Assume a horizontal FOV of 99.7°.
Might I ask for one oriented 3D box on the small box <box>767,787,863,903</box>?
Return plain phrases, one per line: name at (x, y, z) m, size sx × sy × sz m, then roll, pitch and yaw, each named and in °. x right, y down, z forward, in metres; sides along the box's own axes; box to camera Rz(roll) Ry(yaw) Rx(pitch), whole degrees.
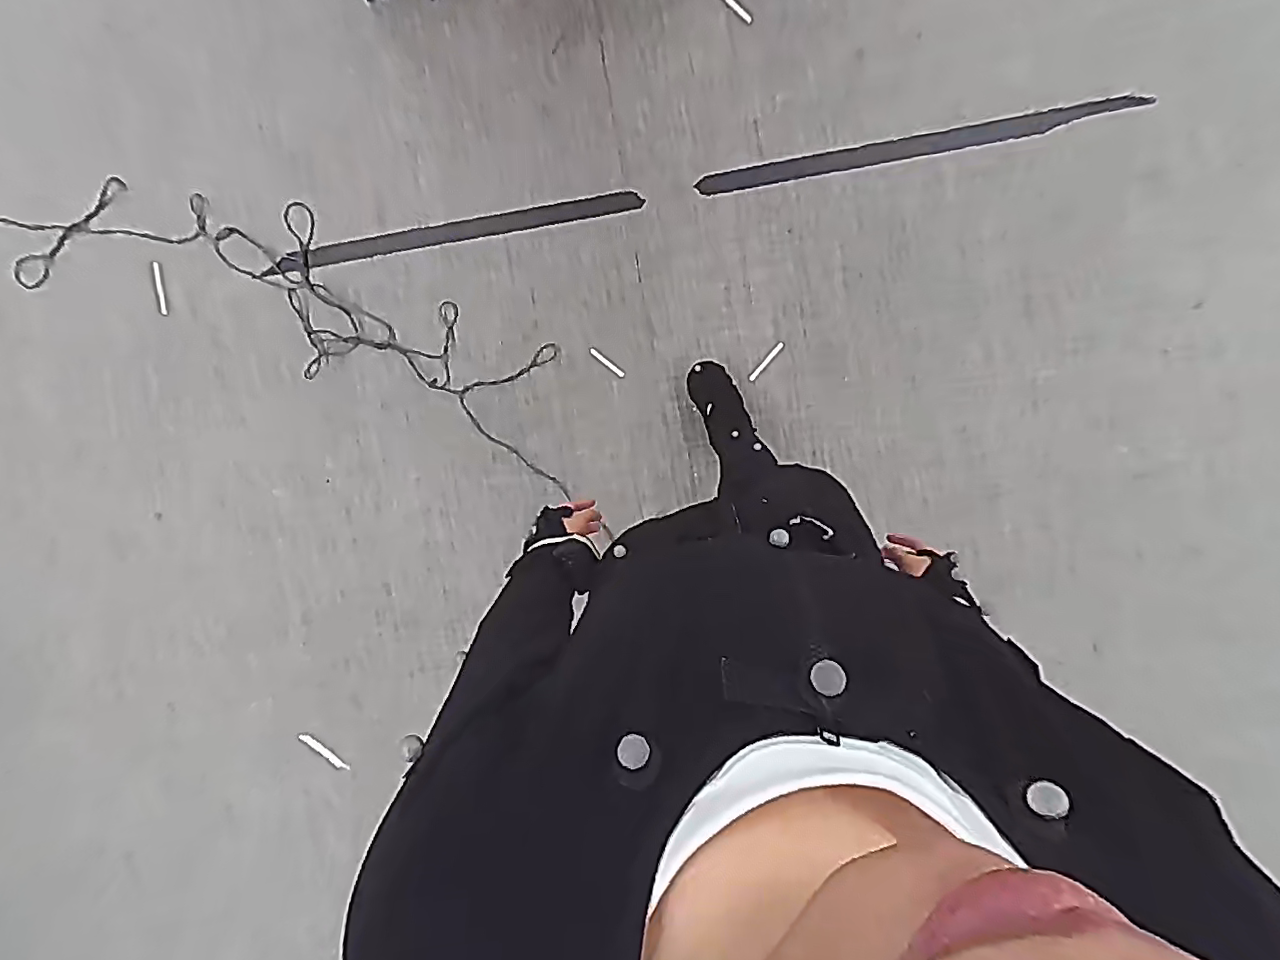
small box at (0.423, 0.891, 1.324) m, size 0.179 × 0.176 × 0.168 m, roll -8°, pitch 92°, yaw 5°
